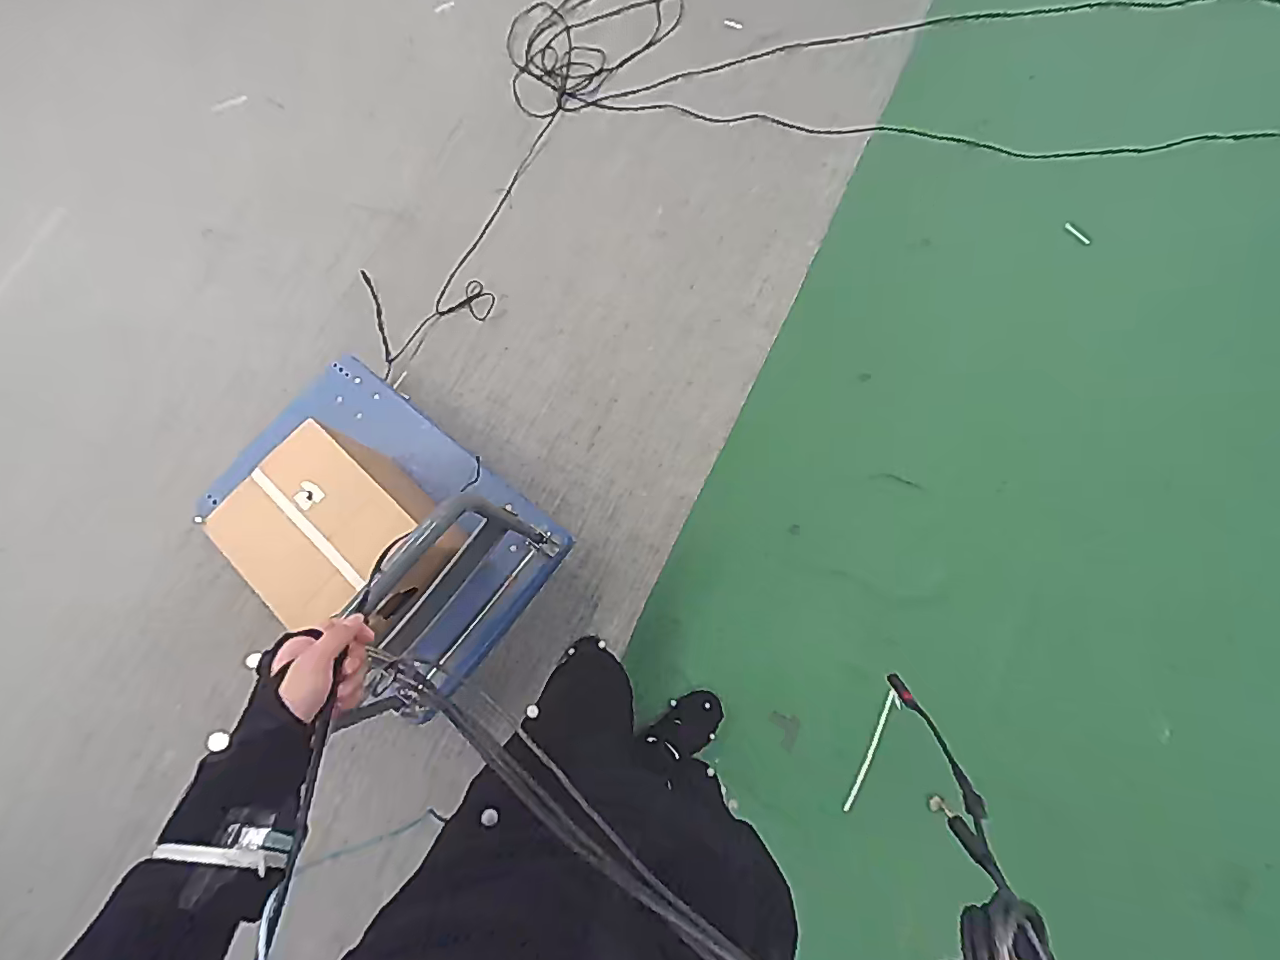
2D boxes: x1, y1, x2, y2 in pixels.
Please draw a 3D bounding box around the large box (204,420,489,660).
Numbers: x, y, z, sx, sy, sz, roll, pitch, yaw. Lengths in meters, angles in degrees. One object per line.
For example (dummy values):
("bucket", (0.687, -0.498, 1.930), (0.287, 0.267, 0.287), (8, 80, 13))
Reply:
("large box", (-0.624, 0.142, 1.213), (0.408, 0.320, 0.320), (41, 82, 13))
